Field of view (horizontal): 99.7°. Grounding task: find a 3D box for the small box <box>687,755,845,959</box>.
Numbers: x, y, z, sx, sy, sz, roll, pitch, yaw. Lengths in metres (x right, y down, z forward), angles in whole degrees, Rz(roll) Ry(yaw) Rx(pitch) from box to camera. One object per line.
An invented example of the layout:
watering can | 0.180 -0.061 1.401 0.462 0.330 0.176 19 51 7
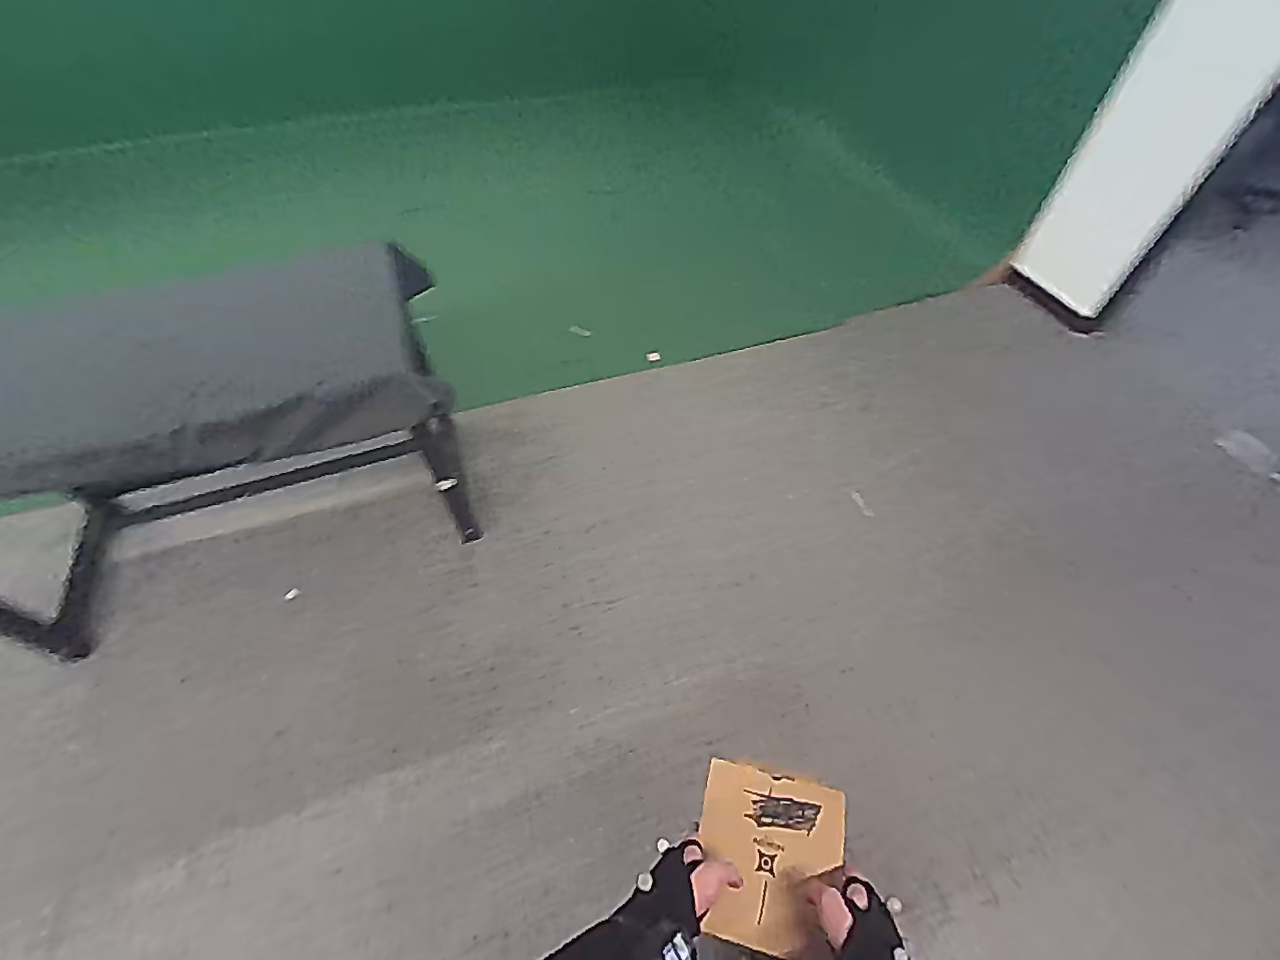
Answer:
small box | 0.155 0.475 0.674 0.168 0.176 0.179 6 50 14
